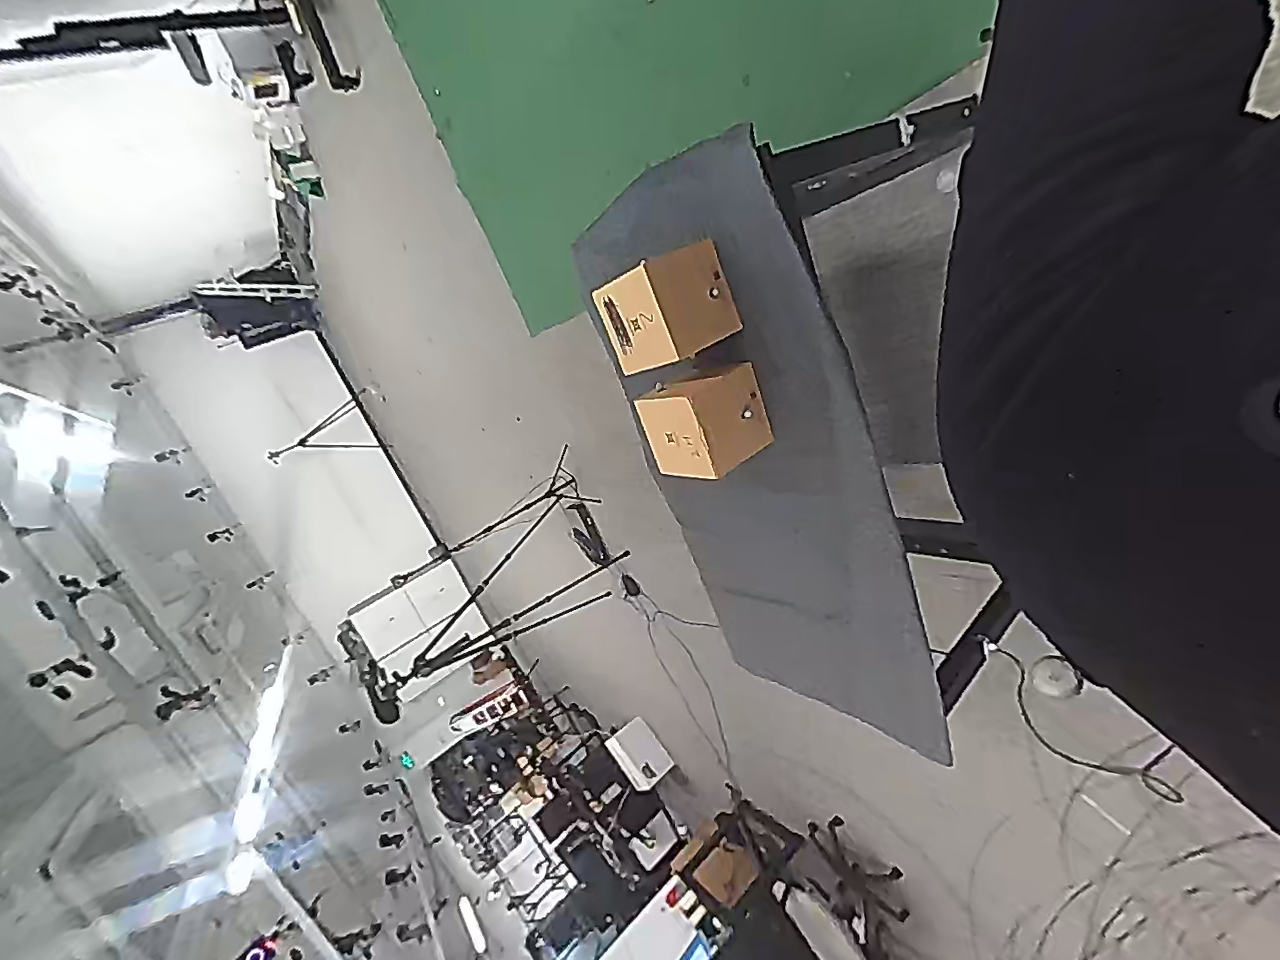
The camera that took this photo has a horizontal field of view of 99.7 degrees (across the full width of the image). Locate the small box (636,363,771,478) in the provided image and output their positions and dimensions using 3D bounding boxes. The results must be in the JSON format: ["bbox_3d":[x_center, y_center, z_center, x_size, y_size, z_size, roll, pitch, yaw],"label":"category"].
[{"bbox_3d":[0.126,-0.120,1.067,0.179,0.176,0.168,8,124,55],"label":"small box"}]
